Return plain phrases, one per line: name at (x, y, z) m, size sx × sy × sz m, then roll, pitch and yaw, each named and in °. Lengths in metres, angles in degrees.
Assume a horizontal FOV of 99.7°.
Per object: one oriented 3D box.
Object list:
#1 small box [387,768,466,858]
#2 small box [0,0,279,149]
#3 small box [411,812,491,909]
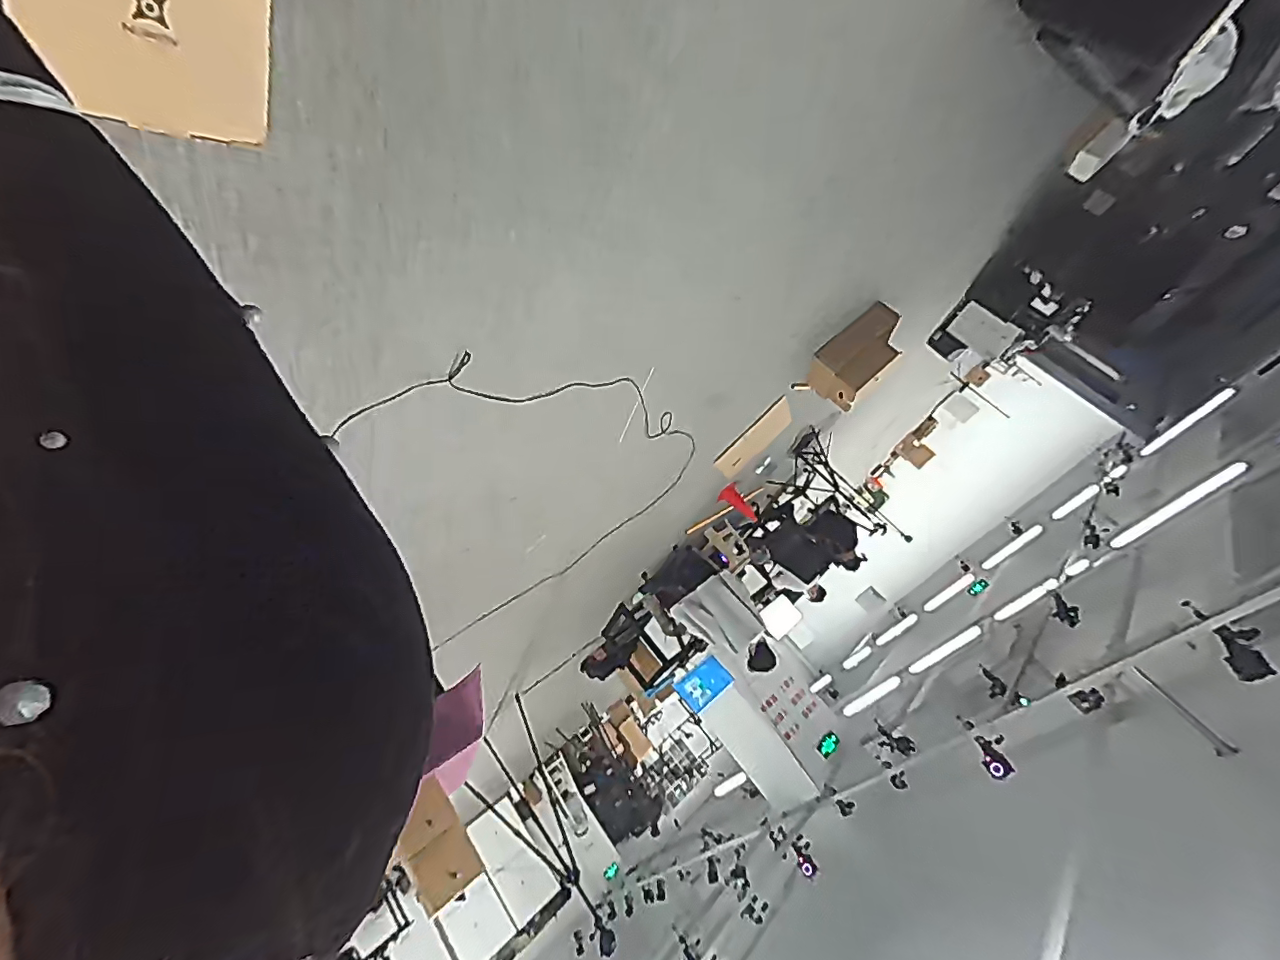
small box at (-0.700, 1.082, 1.767) m, size 0.179 × 0.176 × 0.168 m, roll -22°, pitch 152°, yaw -41°
small box at (-0.428, -0.421, 0.451) m, size 0.168 × 0.176 × 0.179 m, roll -20°, pitch 149°, yaw -48°
small box at (-0.602, 1.199, 1.708) m, size 0.179 × 0.176 × 0.168 m, roll -24°, pitch 154°, yaw -41°
